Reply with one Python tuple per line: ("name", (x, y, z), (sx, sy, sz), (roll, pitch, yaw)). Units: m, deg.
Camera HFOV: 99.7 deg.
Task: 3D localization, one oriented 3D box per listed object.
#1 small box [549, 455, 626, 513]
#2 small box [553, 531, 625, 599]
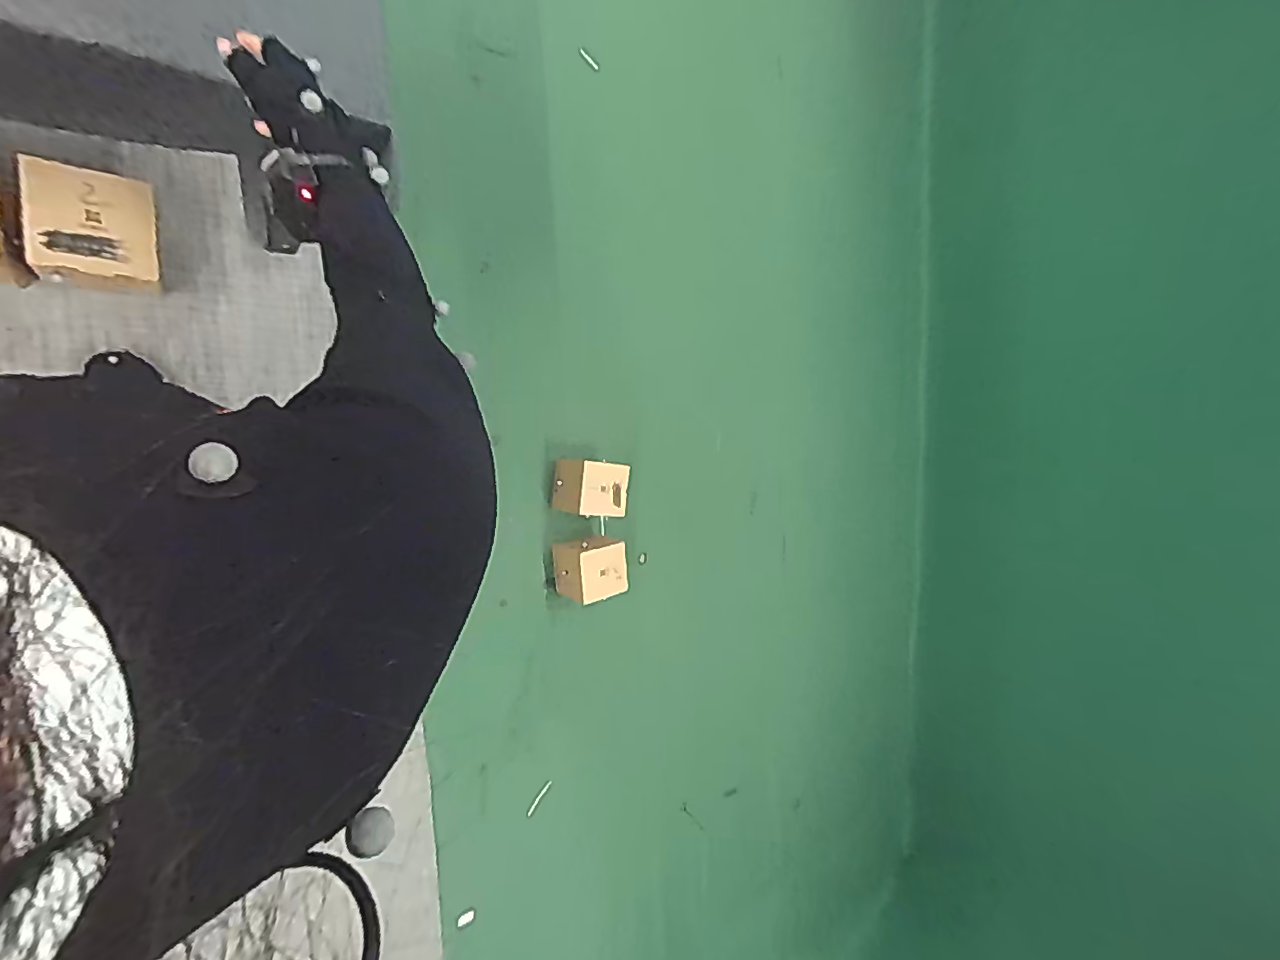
("small box", (-0.168, 0.011, 1.730), (0.179, 0.176, 0.168), (6, 90, -39))
("small box", (-0.171, 0.268, 1.750), (0.179, 0.176, 0.168), (-11, 102, -39))
